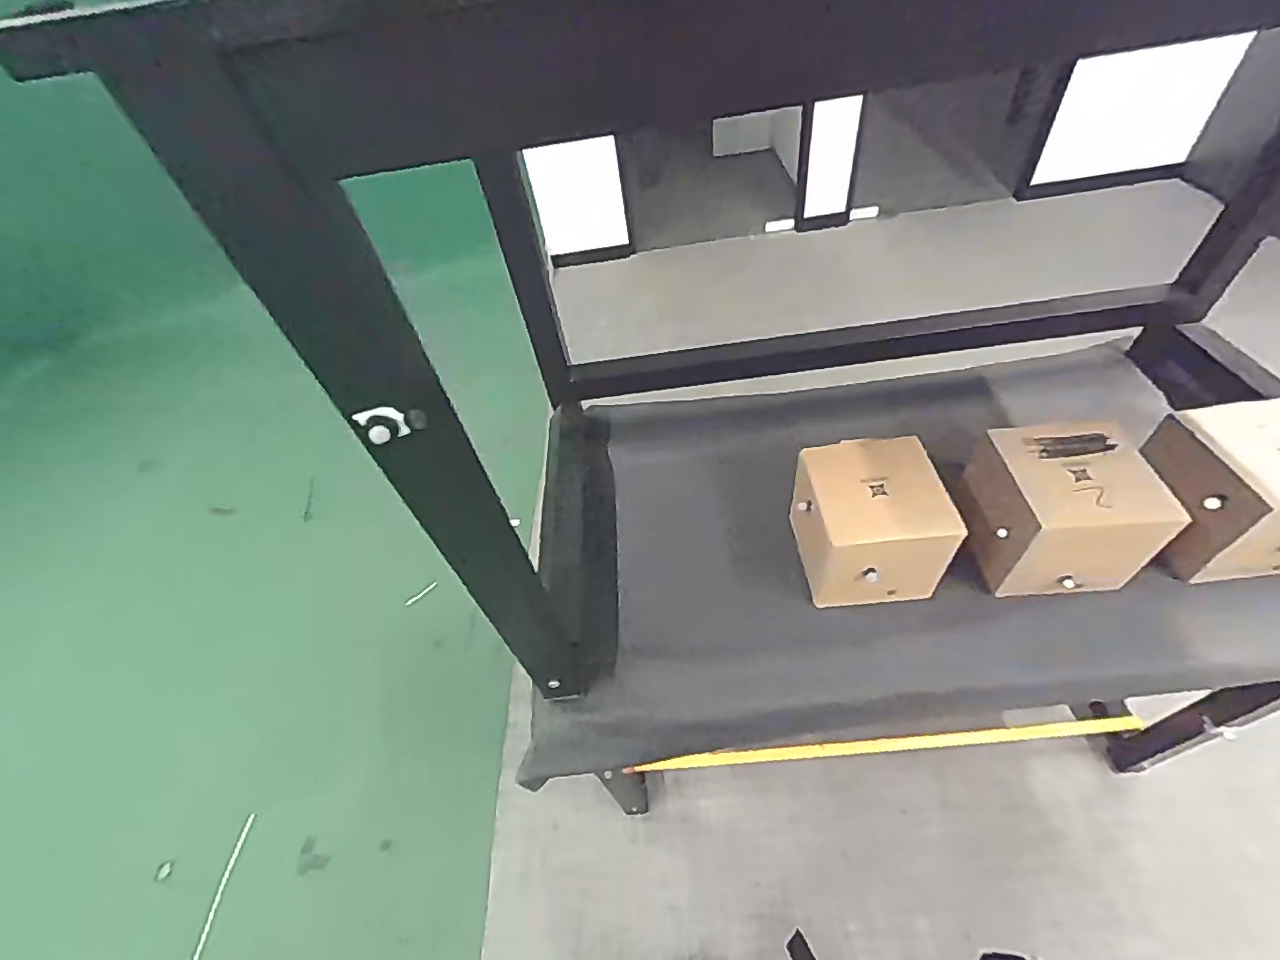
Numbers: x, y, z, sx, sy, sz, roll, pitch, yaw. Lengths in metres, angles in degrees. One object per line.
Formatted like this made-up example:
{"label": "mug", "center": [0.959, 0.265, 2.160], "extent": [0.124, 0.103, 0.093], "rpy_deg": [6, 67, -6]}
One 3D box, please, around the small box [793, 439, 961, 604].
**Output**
{"label": "small box", "center": [0.326, 0.067, 0.785], "extent": [0.168, 0.176, 0.179], "rpy_deg": [-7, 48, 4]}

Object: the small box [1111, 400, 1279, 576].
{"label": "small box", "center": [0.814, 0.018, 0.738], "extent": [0.168, 0.176, 0.179], "rpy_deg": [-7, 47, 3]}
